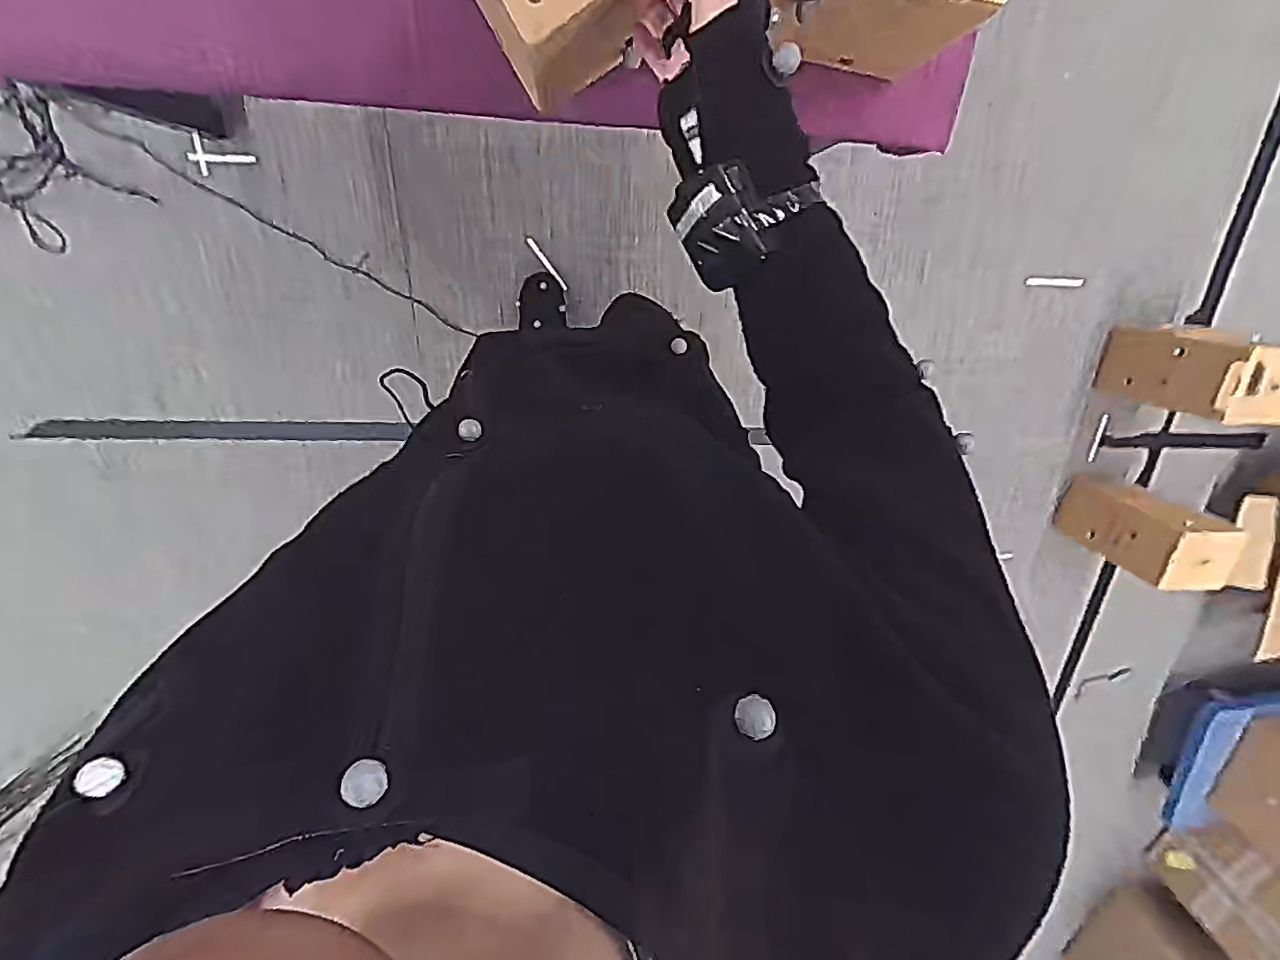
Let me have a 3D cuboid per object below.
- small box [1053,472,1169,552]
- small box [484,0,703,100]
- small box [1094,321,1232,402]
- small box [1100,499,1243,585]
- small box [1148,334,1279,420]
[{"bbox_3d":[1.345,0.094,1.557,0.168,0.176,0.179,3,113,-7],"label":"small box"},{"bbox_3d":[-0.042,-0.413,0.381,0.179,0.176,0.168,-28,112,3],"label":"small box"},{"bbox_3d":[1.324,-0.308,1.386,0.168,0.176,0.179,-3,112,-4],"label":"small box"},{"bbox_3d":[1.371,0.158,1.409,0.179,0.176,0.168,-1,114,-4],"label":"small box"},{"bbox_3d":[1.337,-0.239,1.237,0.179,0.176,0.168,-1,113,-6],"label":"small box"}]
